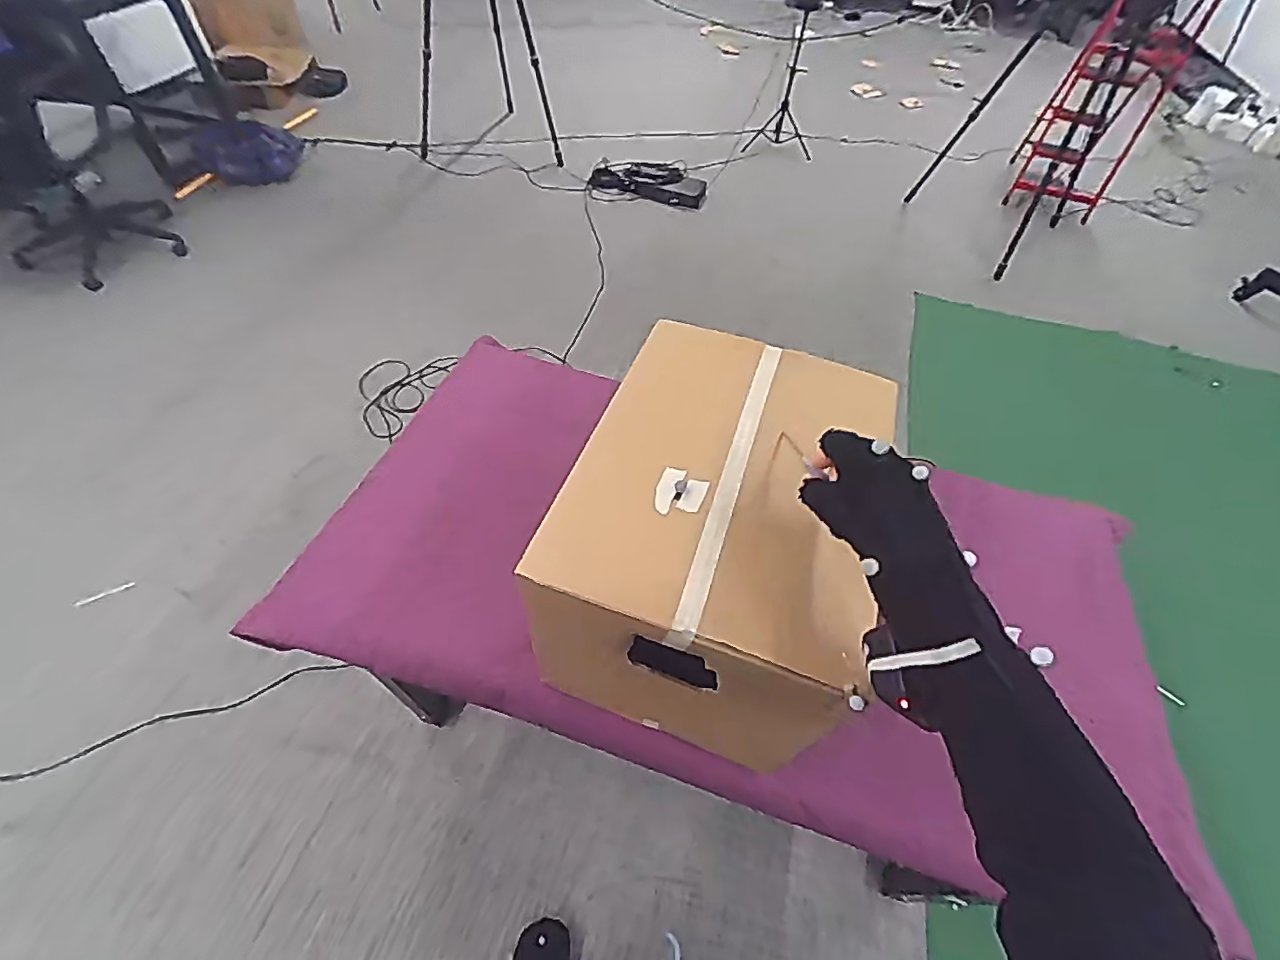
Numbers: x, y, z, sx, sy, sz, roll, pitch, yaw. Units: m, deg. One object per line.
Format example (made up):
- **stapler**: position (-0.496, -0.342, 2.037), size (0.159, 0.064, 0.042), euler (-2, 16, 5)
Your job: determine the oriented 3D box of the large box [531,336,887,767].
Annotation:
- **large box**: position (0.093, 0.087, 0.706), size (0.320, 0.320, 0.408), euler (18, 54, 9)
